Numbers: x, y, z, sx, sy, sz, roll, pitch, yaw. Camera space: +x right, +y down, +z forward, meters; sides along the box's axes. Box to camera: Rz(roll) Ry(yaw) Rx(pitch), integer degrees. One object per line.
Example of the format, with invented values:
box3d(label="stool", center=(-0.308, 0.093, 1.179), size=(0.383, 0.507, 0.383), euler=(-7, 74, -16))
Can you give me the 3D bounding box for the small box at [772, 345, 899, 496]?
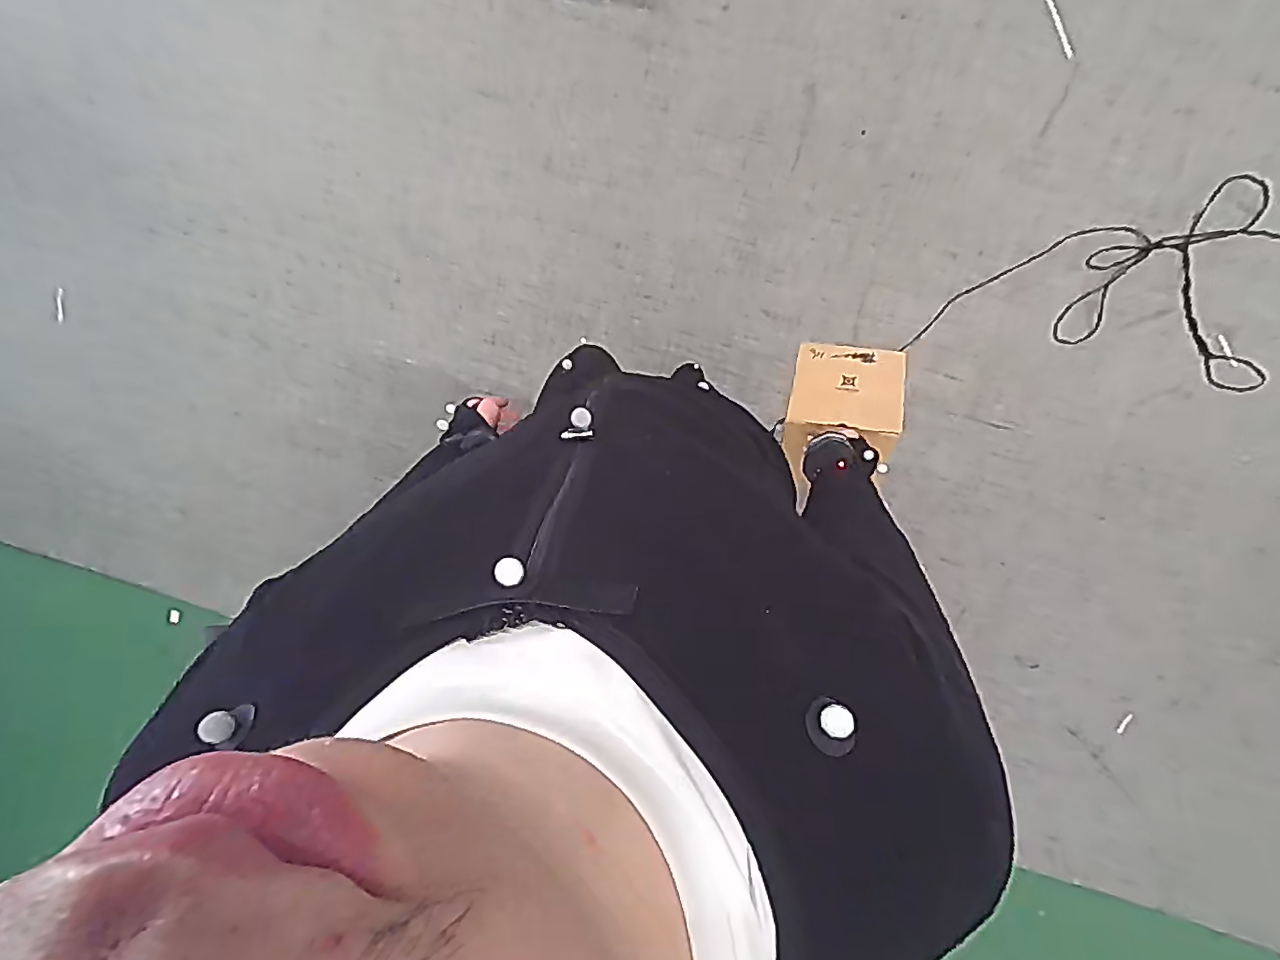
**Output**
box3d(label="small box", center=(0.318, -0.095, 0.899), size=(0.168, 0.179, 0.176), euler=(11, 147, 15))
